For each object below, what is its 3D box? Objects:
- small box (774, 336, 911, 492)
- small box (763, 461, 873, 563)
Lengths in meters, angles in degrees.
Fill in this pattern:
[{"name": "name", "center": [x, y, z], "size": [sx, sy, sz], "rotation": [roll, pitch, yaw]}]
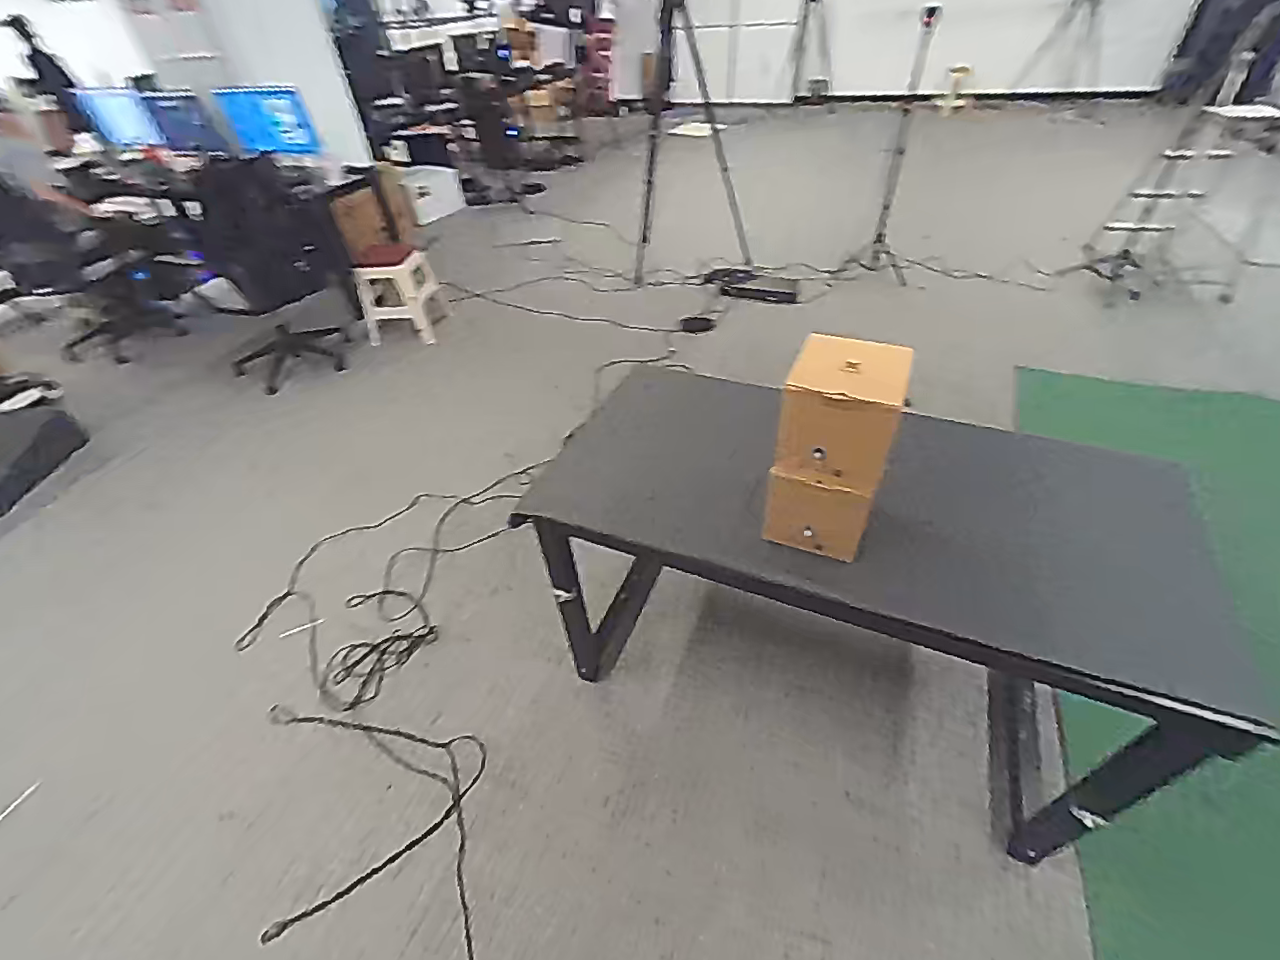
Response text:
[{"name": "small box", "center": [0.324, -0.109, 0.881], "size": [0.168, 0.176, 0.179], "rotation": [15, 45, 21]}, {"name": "small box", "center": [0.328, 0.017, 0.983], "size": [0.168, 0.176, 0.179], "rotation": [14, 45, 21]}]
